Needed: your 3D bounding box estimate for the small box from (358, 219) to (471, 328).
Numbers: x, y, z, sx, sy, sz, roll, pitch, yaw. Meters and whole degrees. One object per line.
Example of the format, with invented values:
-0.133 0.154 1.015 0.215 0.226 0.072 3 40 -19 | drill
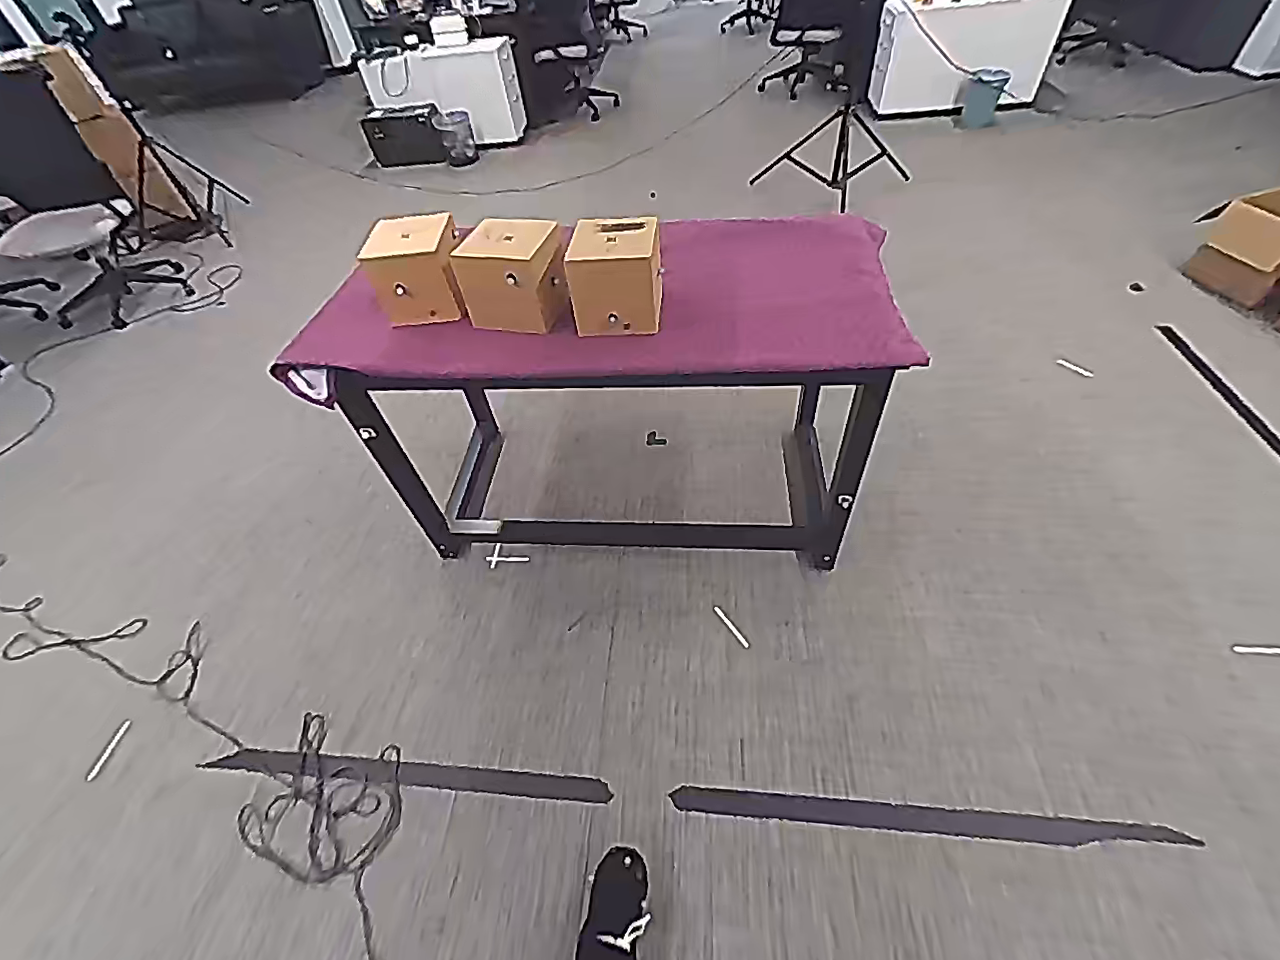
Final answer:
-0.493 -0.455 1.212 0.168 0.176 0.179 -6 49 2 | small box
